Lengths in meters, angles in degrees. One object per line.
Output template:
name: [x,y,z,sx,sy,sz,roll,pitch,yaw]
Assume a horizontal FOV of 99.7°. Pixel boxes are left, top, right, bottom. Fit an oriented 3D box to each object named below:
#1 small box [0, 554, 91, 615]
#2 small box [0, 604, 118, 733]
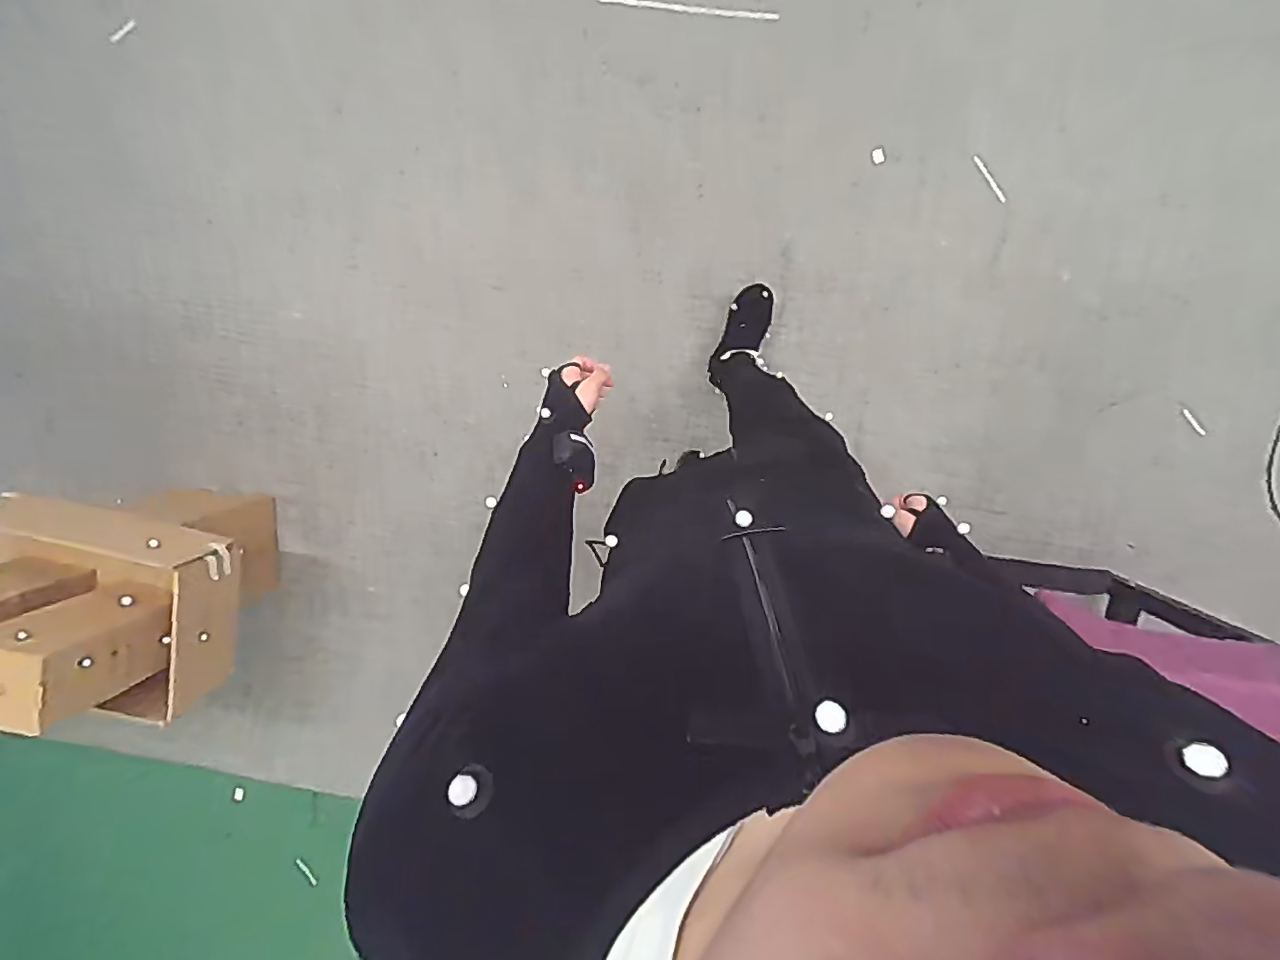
small box: [-1.441,0.281,1.247,0.179,0.176,0.168,12,100,0]
small box: [-1.202,0.366,1.079,0.179,0.176,0.168,13,99,2]
